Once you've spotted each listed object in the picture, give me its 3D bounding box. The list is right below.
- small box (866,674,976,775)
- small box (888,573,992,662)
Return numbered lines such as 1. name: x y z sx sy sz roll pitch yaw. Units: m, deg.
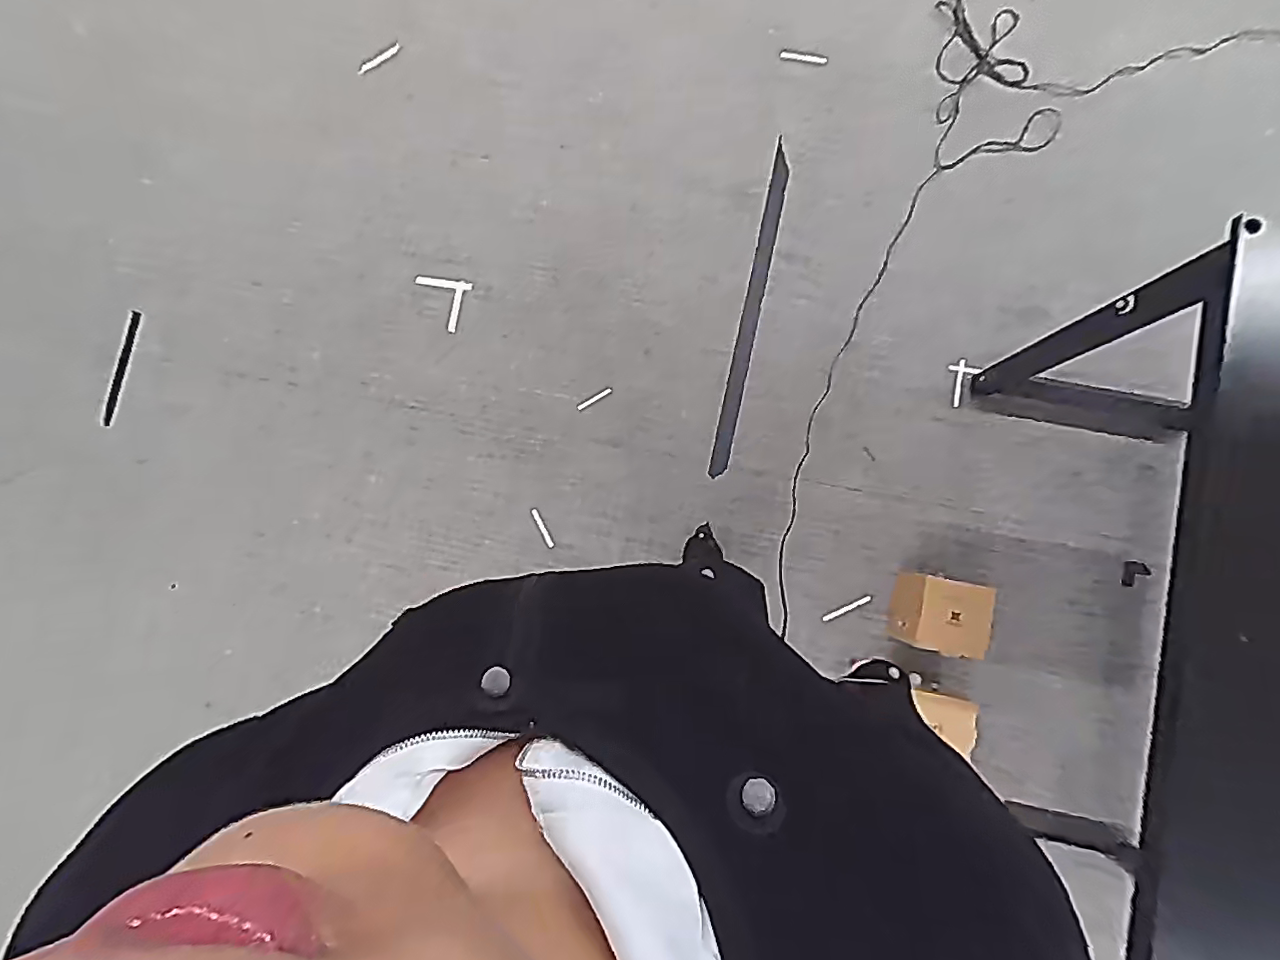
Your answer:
1. small box: 0.686 0.593 1.335 0.179 0.176 0.168 11 84 4
2. small box: 0.745 0.338 1.363 0.168 0.176 0.179 11 84 4
